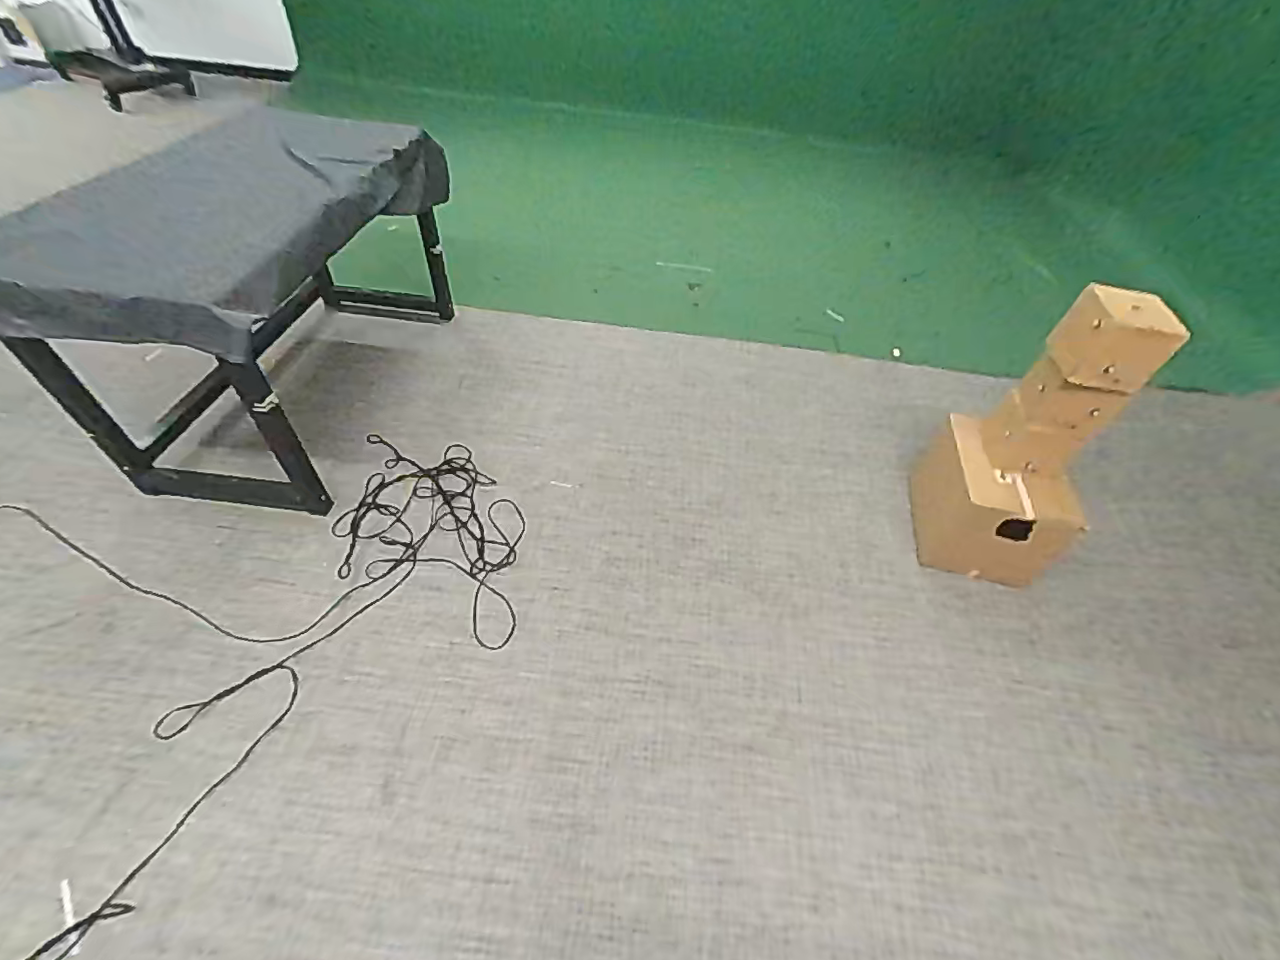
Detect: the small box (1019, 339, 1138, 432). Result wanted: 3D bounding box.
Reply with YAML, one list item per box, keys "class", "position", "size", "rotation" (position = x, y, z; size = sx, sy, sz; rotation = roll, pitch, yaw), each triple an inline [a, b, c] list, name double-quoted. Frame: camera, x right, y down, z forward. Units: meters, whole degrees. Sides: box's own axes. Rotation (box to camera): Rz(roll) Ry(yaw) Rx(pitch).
- class: "small box"
  position: [1.149, -0.254, 1.432]
  size: [0.168, 0.176, 0.179]
  rotation: [16, 48, 8]

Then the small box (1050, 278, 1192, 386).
- class: "small box"
  position: [1.140, -0.356, 1.304]
  size: [0.168, 0.176, 0.179]
  rotation: [11, 49, 3]

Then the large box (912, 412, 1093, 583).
- class: "large box"
  position: [1.095, 0.052, 1.700]
  size: [0.320, 0.320, 0.408]
  rotation: [11, 49, 6]
